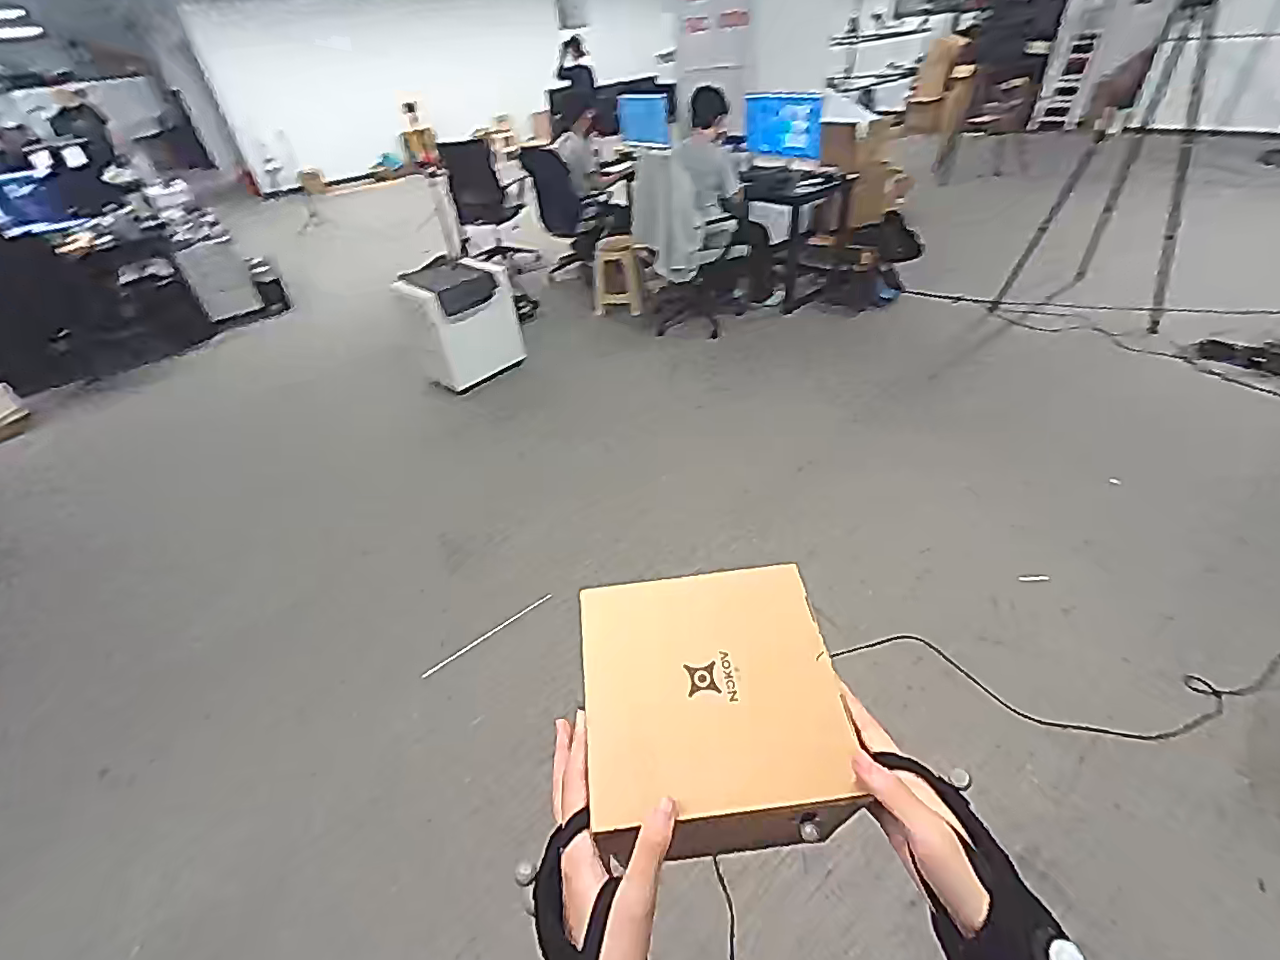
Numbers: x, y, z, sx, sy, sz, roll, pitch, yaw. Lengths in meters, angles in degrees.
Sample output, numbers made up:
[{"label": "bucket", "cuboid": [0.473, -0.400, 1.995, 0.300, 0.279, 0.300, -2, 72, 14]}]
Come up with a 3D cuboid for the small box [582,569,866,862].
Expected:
[{"label": "small box", "cuboid": [0.052, 0.194, 0.439, 0.179, 0.176, 0.168, -6, 49, -1]}]
